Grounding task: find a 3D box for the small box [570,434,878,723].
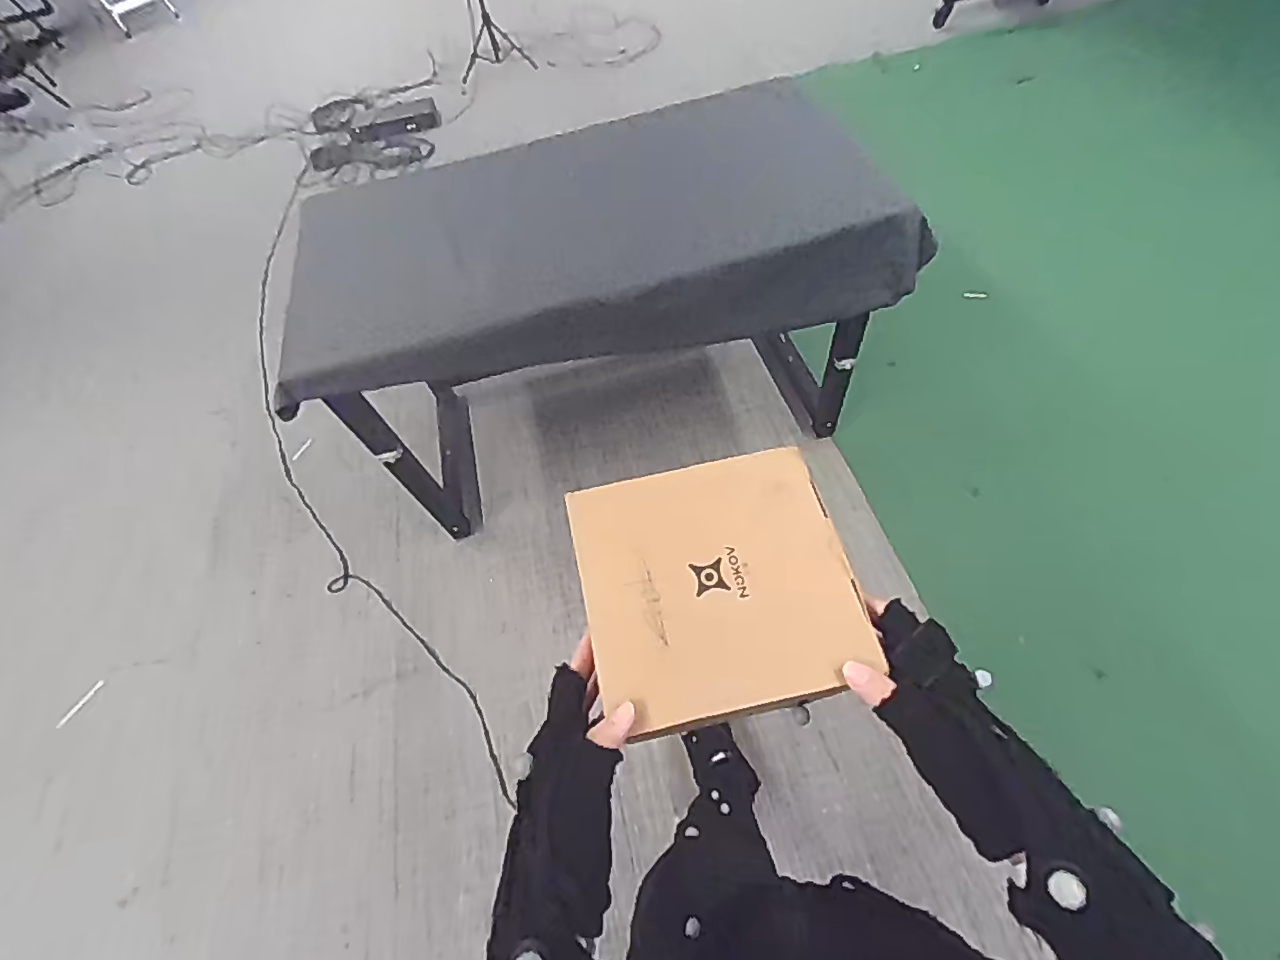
[{"bbox_3d":[0.053,0.089,0.439,0.179,0.176,0.168,-14,63,-3],"label":"small box"}]
